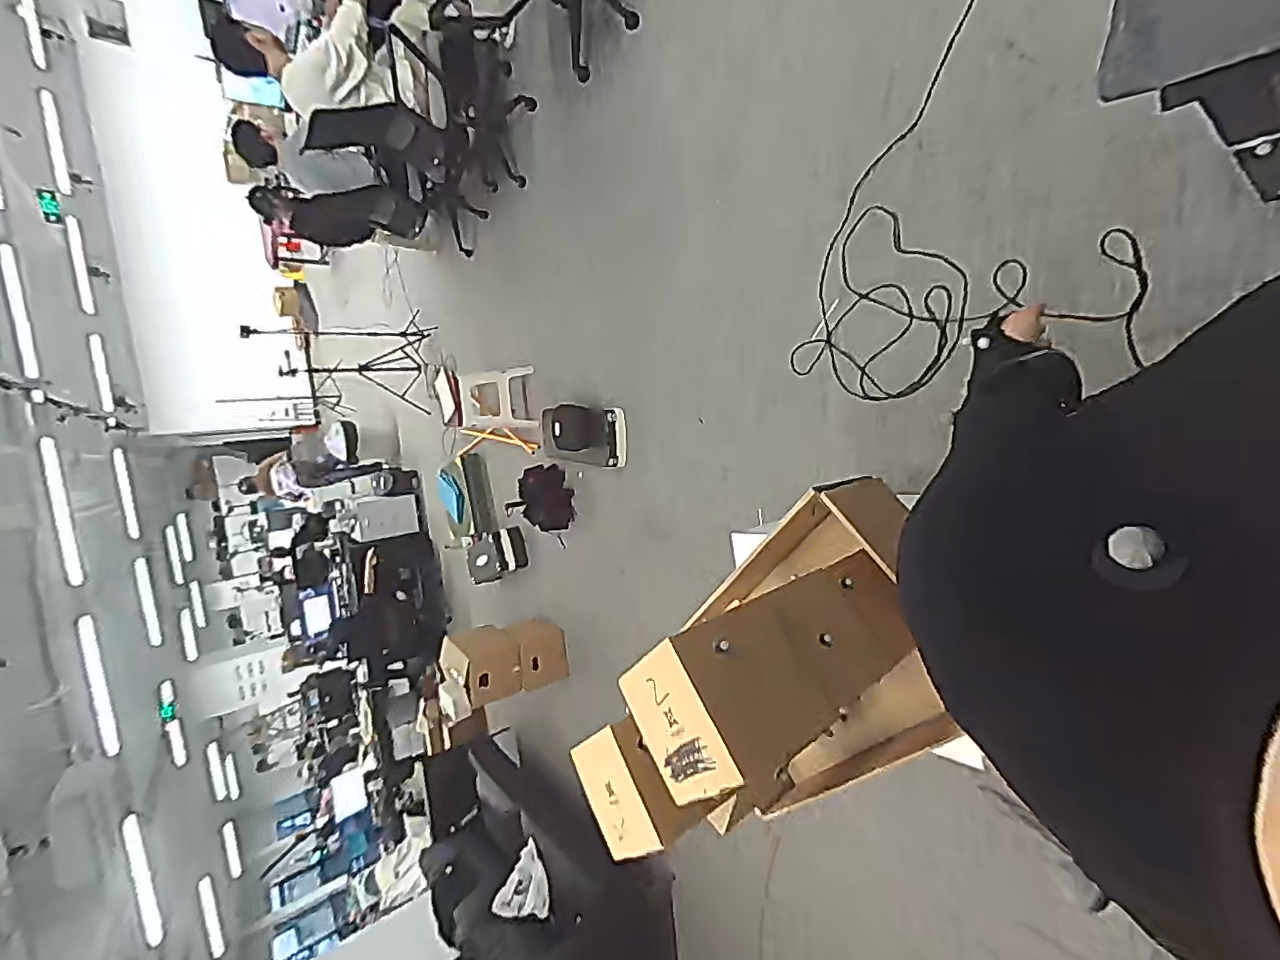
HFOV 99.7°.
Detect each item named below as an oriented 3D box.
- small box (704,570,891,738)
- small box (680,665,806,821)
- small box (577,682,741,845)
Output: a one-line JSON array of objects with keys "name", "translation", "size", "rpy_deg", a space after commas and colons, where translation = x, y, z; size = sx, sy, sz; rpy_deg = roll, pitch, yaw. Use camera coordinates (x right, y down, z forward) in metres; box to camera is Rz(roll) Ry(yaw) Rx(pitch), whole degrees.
[{"name": "small box", "translation": [0.238, 0.256, 0.831], "size": [0.179, 0.176, 0.168], "rpy_deg": [57, 140, 24]}, {"name": "small box", "translation": [0.167, 0.455, 0.981], "size": [0.179, 0.176, 0.168], "rpy_deg": [32, 123, 41]}, {"name": "small box", "translation": [0.029, 0.454, 0.886], "size": [0.179, 0.176, 0.168], "rpy_deg": [60, 139, 22]}]
